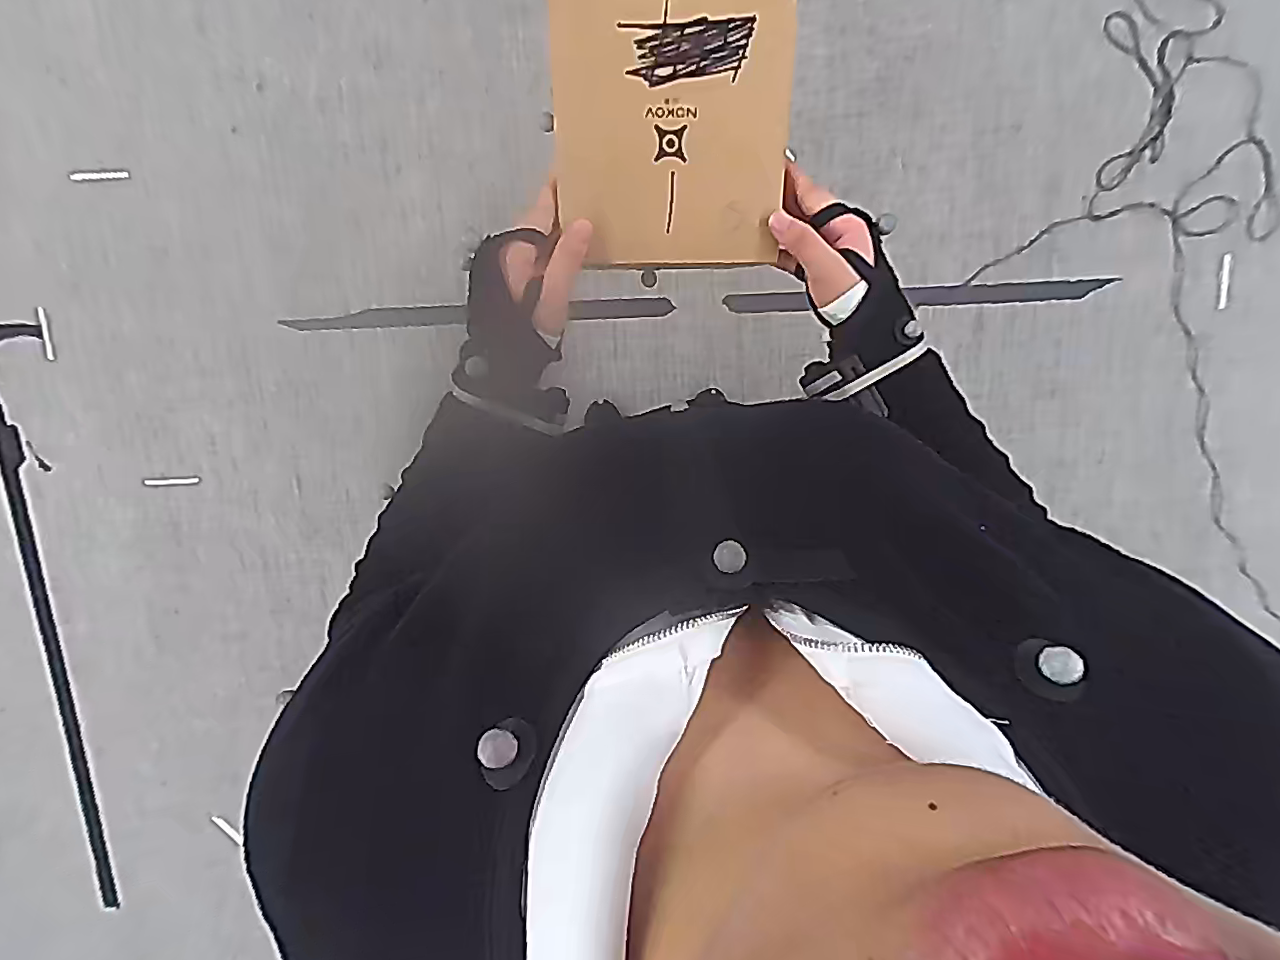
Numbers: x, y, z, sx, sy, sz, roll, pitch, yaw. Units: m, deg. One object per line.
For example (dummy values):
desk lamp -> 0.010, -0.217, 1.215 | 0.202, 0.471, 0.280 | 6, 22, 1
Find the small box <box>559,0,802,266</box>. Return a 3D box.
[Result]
small box -> 0.020, -0.277, 0.451 | 0.168, 0.176, 0.179 | -1, 111, -4
